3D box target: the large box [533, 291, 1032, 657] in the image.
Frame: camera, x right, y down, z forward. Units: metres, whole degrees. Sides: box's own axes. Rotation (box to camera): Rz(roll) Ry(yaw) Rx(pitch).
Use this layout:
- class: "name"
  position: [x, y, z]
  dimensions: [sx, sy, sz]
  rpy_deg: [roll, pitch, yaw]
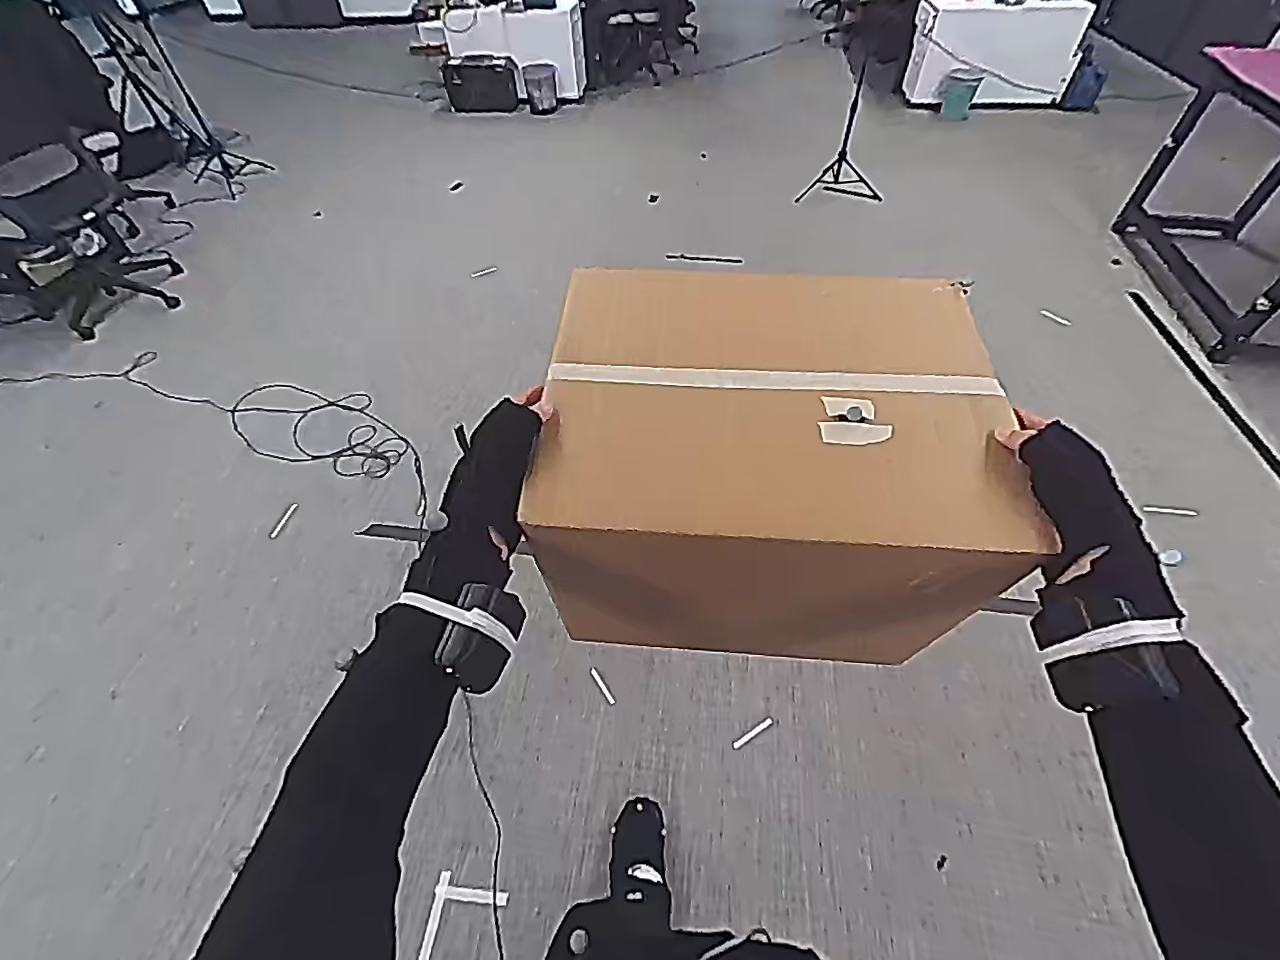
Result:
- class: "large box"
  position: [0.120, 0.004, 0.633]
  dimensions: [0.408, 0.320, 0.320]
  rpy_deg: [3, 58, 4]
